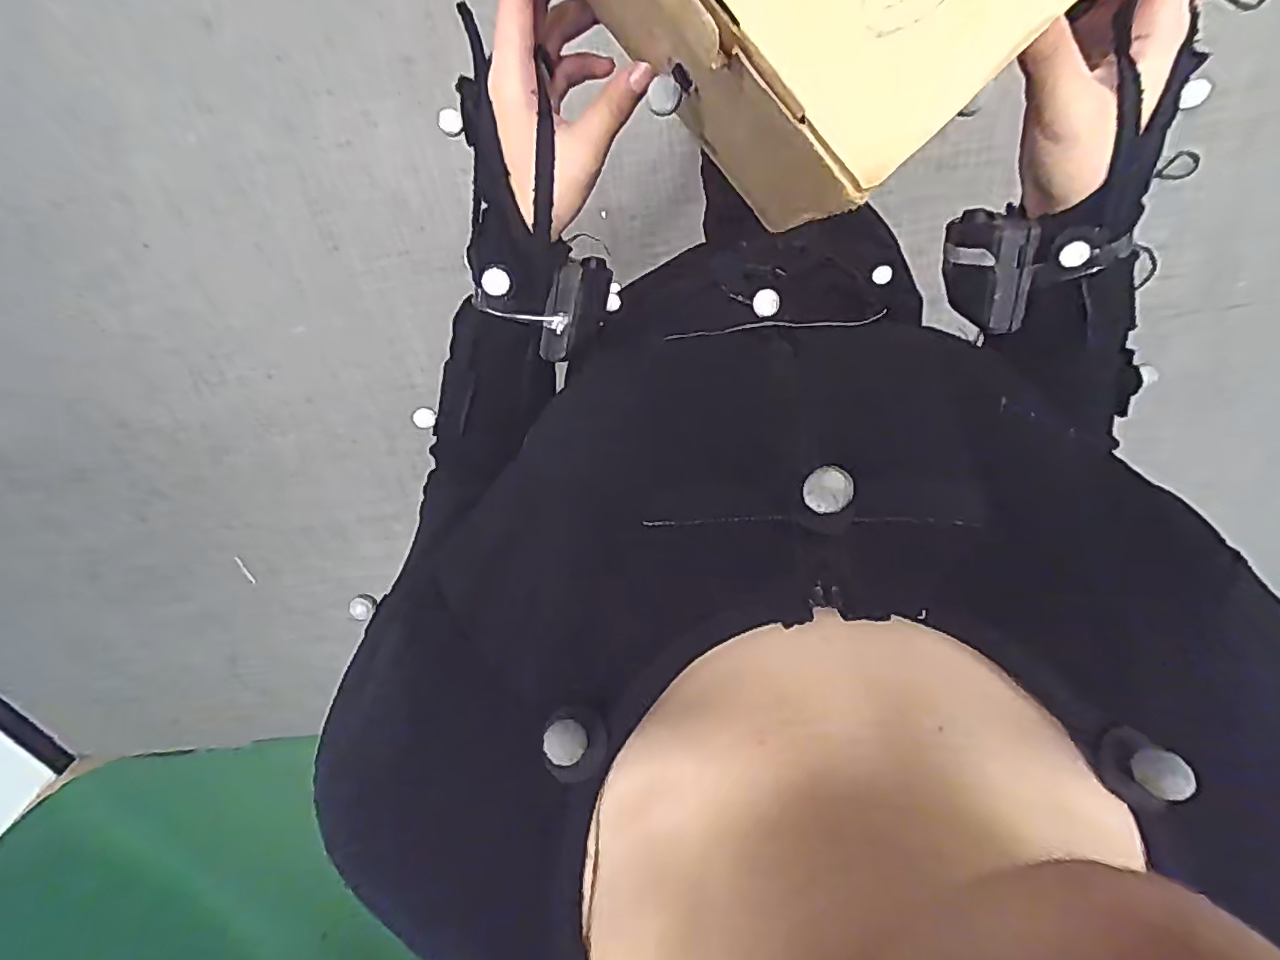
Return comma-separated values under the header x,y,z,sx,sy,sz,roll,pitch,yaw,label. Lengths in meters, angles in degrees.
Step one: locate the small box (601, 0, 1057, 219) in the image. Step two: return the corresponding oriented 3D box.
x,y,z,sx,sy,sz,roll,pitch,yaw,label
0.081,-0.231,0.212,0.179,0.176,0.168,-42,103,18,small box
